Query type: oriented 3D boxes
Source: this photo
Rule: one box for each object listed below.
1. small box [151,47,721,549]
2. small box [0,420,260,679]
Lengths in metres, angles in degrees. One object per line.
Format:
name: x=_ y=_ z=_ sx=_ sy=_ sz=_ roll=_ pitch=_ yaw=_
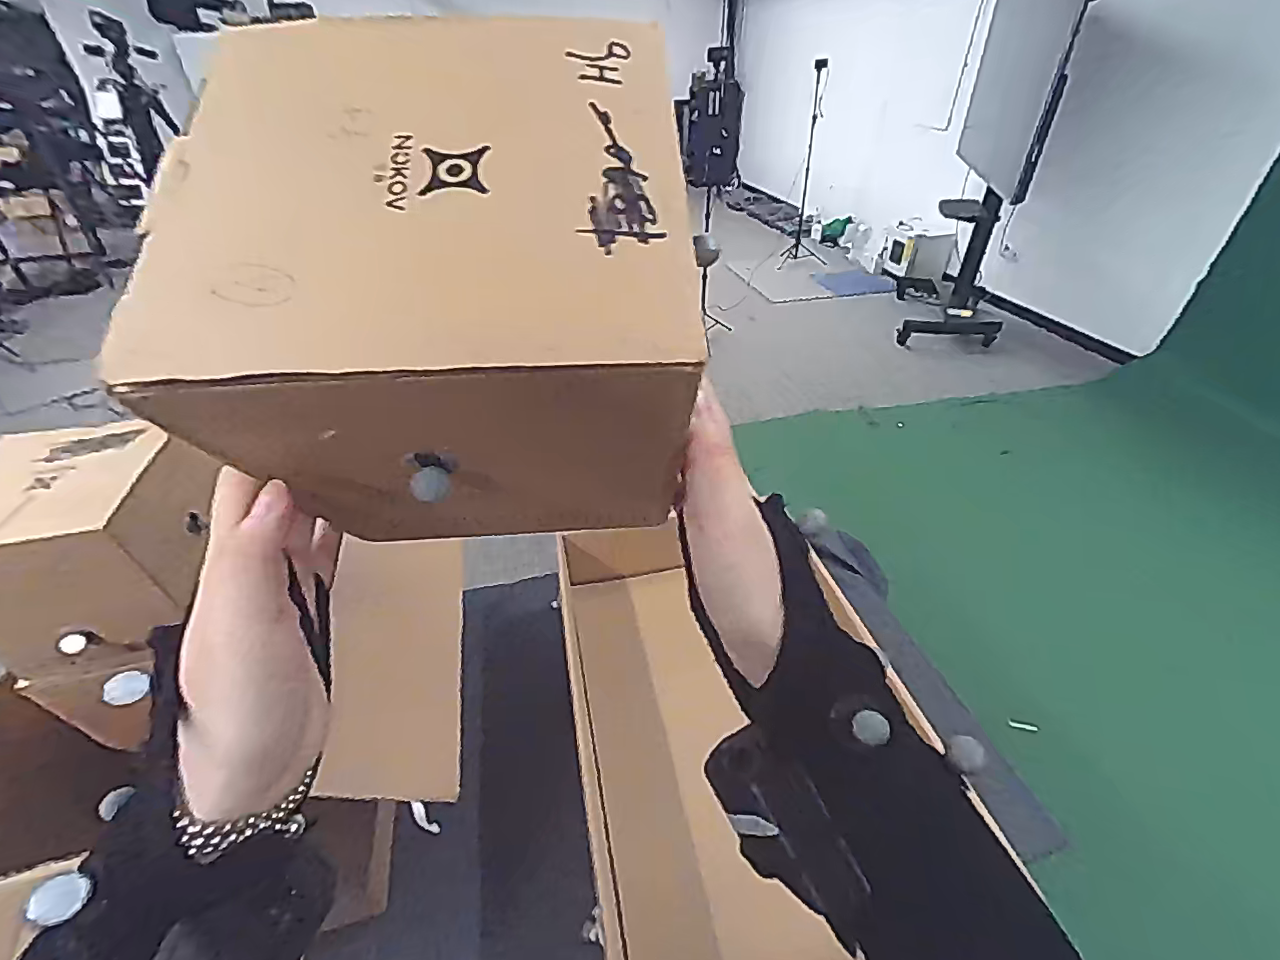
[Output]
small box: x=-0.065 y=-0.067 z=0.266 sx=0.179 sy=0.176 sz=0.168 roll=-3 pitch=69 yaw=-2
small box: x=-0.517 y=0.063 z=0.533 sx=0.168 sy=0.176 sz=0.179 roll=-10 pitch=42 yaw=-9
